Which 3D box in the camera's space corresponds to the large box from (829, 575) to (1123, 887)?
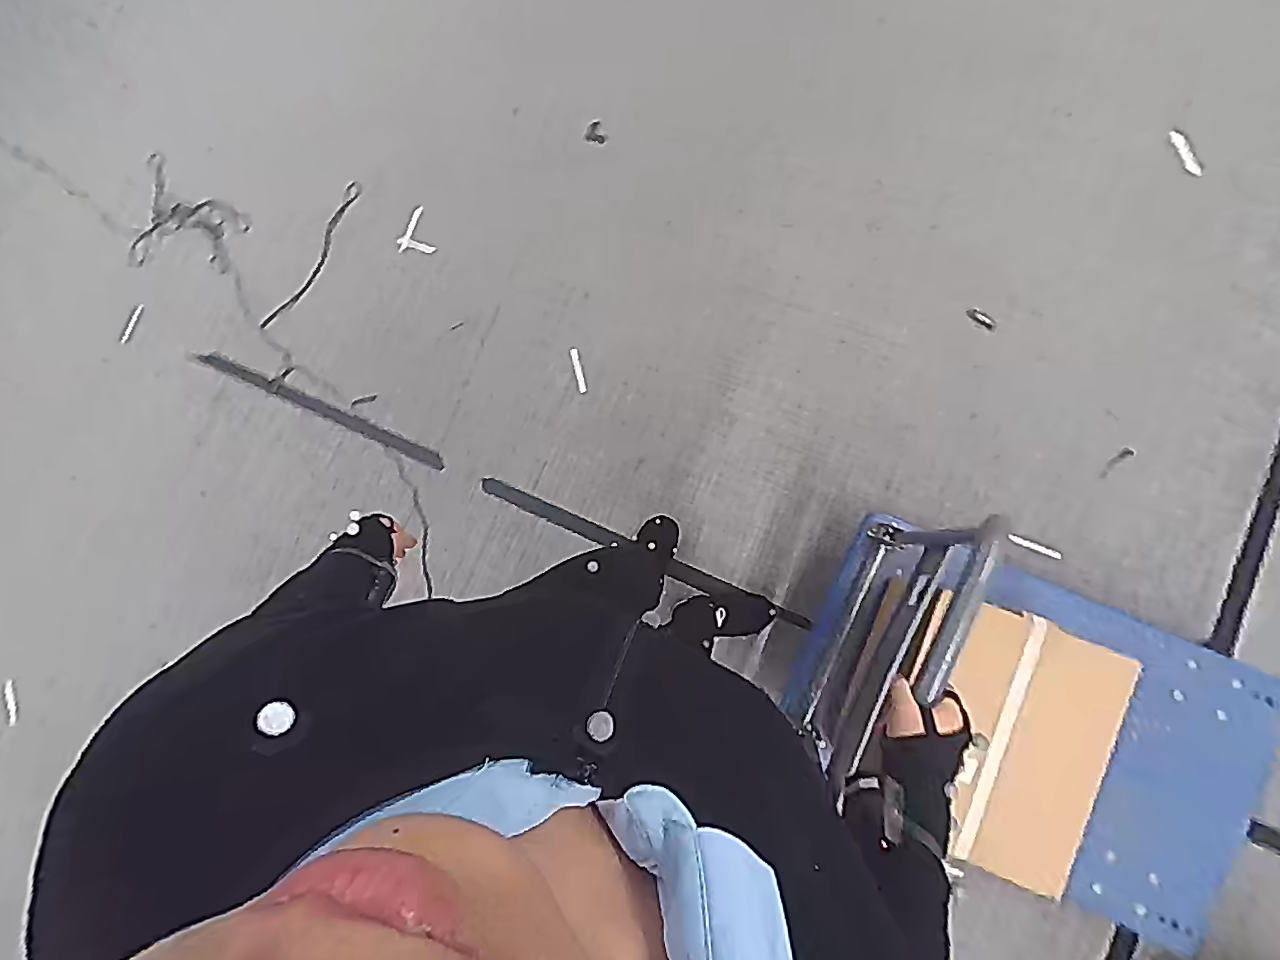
[{"bbox_3d":[0.606,0.434,1.048,0.320,0.320,0.408,21,89,11],"label":"large box"}]
